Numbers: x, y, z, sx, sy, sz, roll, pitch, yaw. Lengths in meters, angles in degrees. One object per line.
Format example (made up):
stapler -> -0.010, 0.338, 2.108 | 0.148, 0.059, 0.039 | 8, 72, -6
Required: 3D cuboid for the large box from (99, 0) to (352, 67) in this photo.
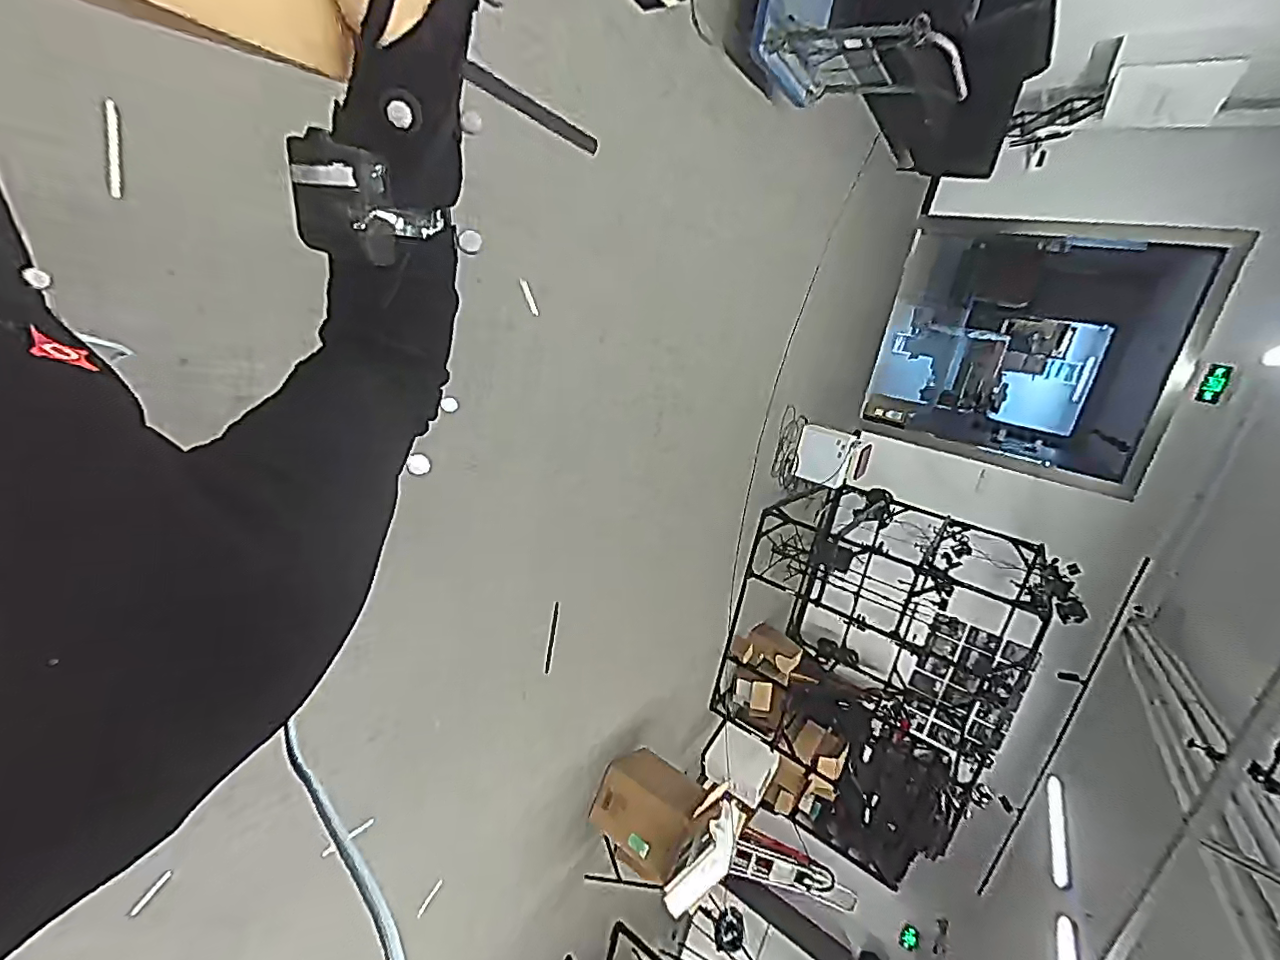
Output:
large box -> -0.341, -0.381, 0.132 | 0.408, 0.320, 0.320 | -20, 136, -55
